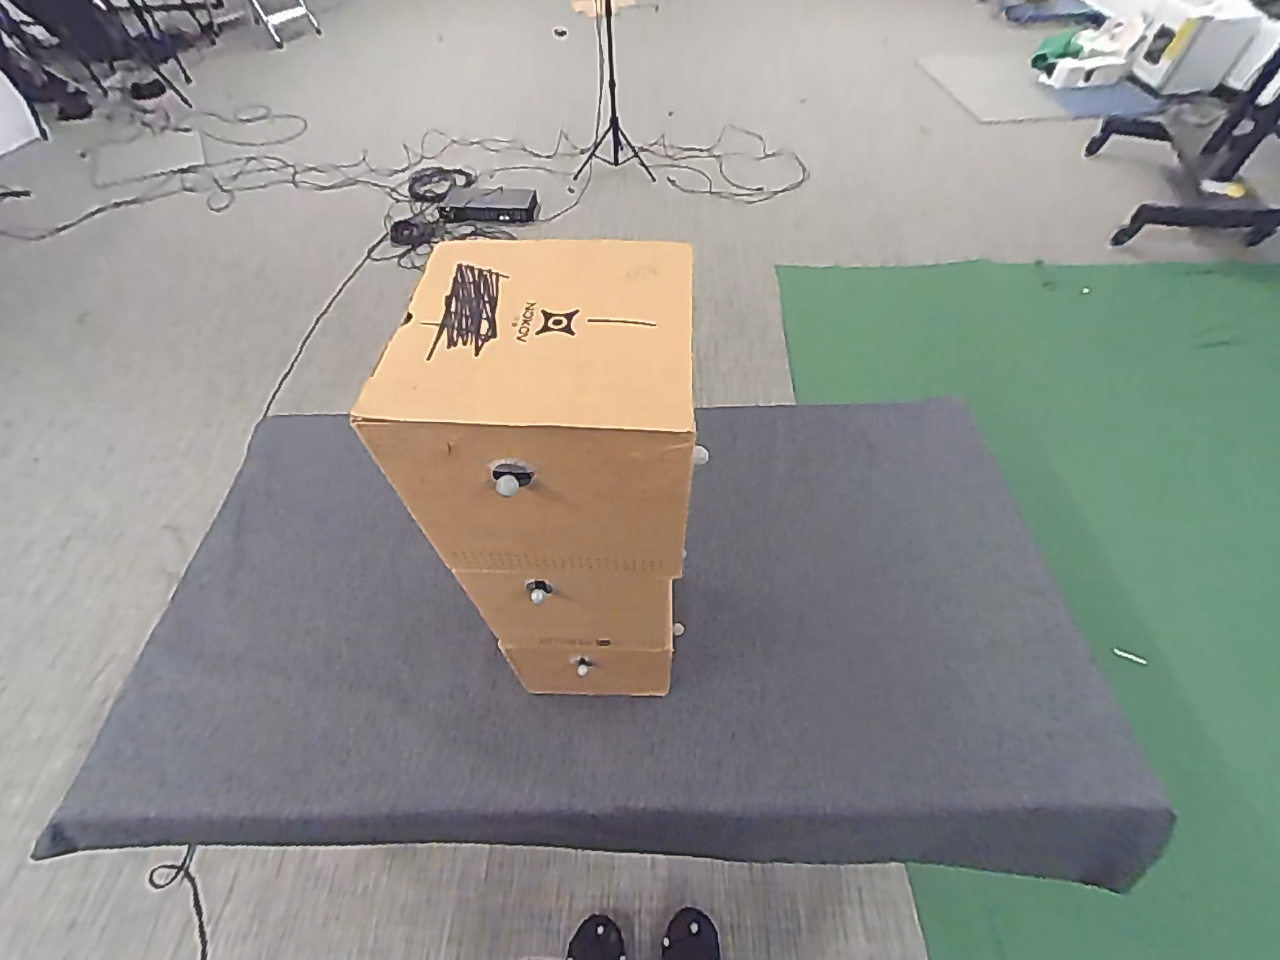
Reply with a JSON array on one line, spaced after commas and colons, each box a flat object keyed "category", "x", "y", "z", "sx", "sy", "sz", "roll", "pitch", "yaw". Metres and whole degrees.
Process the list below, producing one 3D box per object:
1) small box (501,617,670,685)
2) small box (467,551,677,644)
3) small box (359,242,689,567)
[{"category": "small box", "x": -0.052, "y": 0.143, "z": 0.657, "sx": 0.179, "sy": 0.176, "sz": 0.168, "roll": 1, "pitch": 54, "yaw": 1}, {"category": "small box", "x": -0.053, "y": 0.046, "z": 0.529, "sx": 0.168, "sy": 0.176, "sz": 0.179, "roll": 0, "pitch": 55, "yaw": 0}, {"category": "small box", "x": -0.056, "y": -0.048, "z": 0.391, "sx": 0.179, "sy": 0.176, "sz": 0.168, "roll": 3, "pitch": 55, "yaw": 3}]
